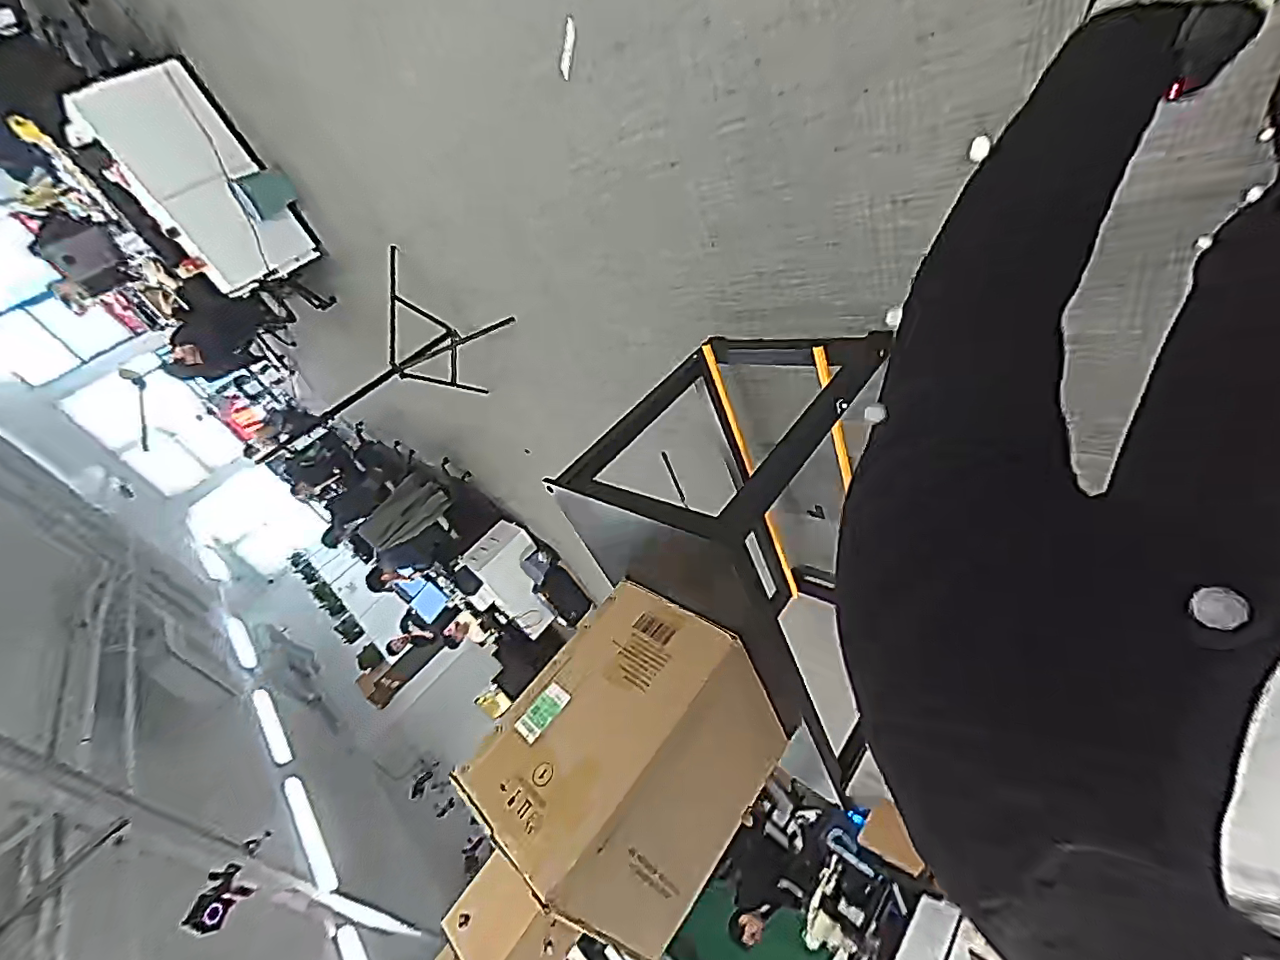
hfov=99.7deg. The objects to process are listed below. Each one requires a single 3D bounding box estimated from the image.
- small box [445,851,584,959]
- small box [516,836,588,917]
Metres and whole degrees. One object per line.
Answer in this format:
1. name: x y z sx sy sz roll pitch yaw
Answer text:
1. small box: -0.246 0.882 1.079 0.179 0.176 0.168 13 143 47
2. small box: -0.254 1.048 1.357 0.179 0.176 0.168 16 143 45
